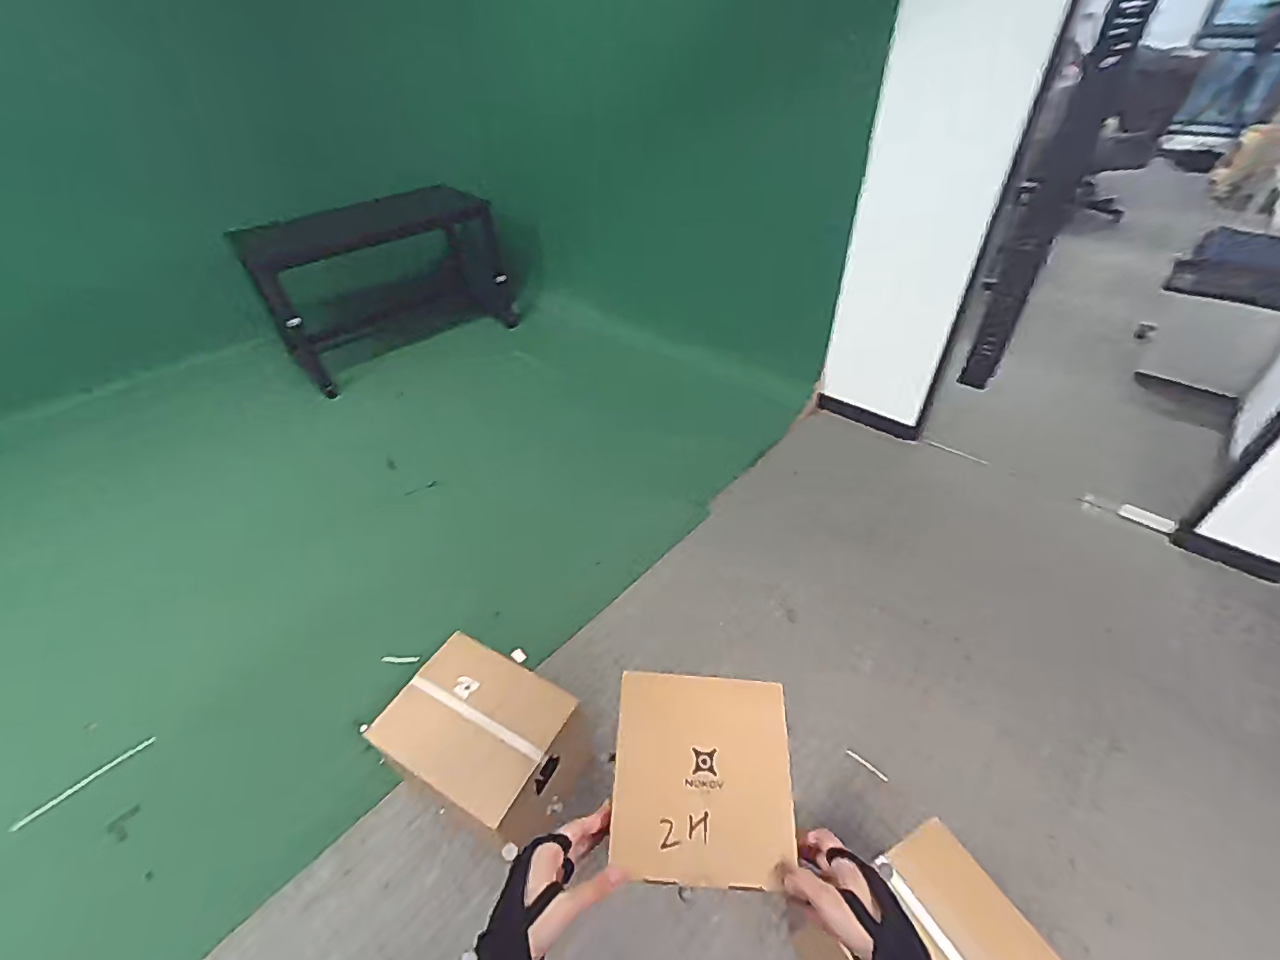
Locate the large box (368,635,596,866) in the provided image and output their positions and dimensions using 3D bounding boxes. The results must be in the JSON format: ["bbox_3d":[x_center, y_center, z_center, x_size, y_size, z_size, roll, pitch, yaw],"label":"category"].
[{"bbox_3d":[-0.369,0.666,1.353,0.408,0.320,0.320,18,45,24],"label":"large box"}]

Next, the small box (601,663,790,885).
[{"bbox_3d":[0.048,0.310,0.570,0.168,0.176,0.179,4,56,0],"label":"small box"}]
